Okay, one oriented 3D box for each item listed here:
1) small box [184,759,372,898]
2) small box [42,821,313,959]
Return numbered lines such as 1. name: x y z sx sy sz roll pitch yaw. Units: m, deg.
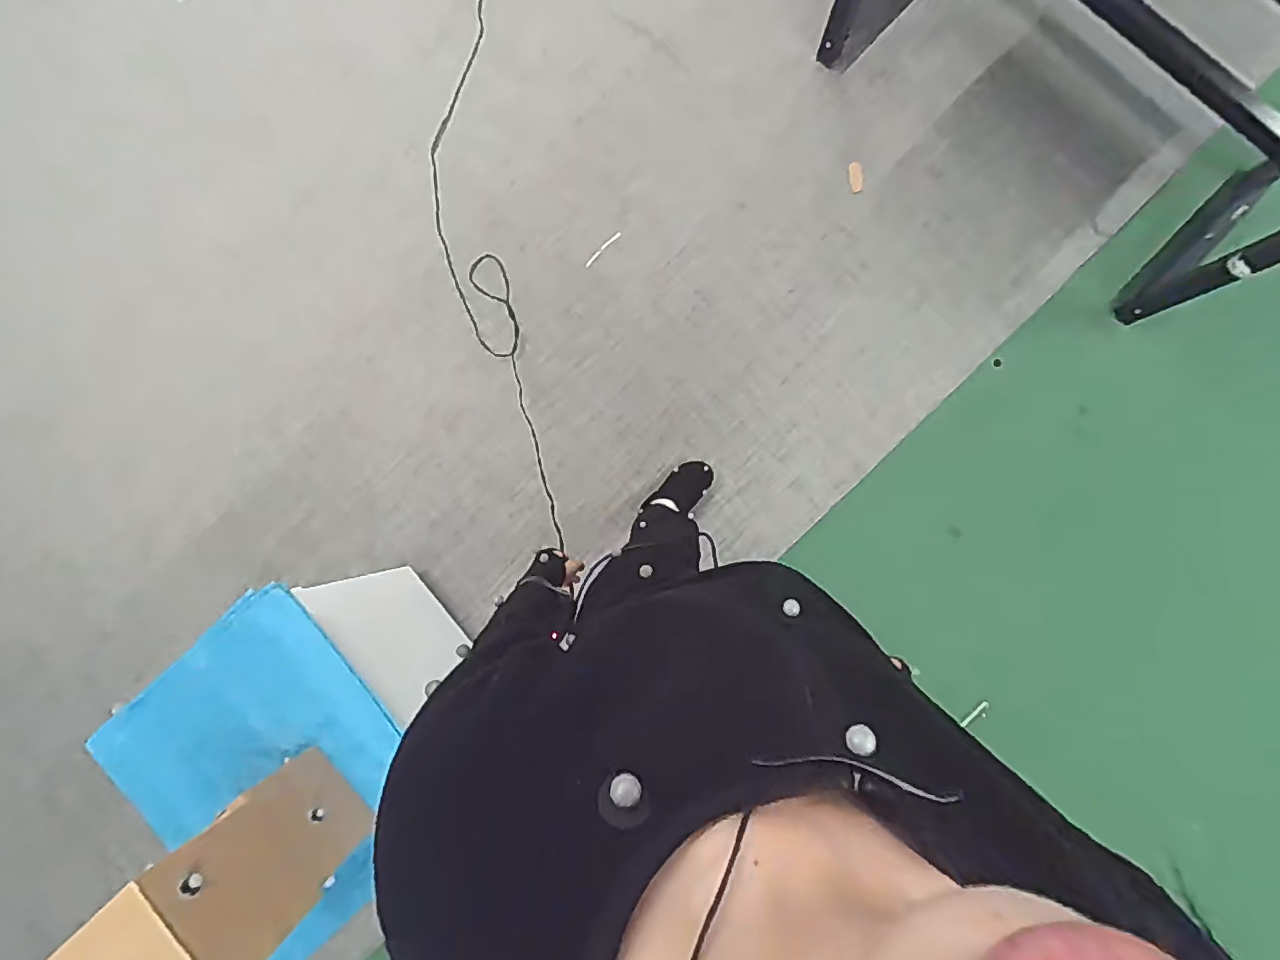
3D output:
1. small box: -0.559 0.564 0.826 0.168 0.176 0.179 -43 87 0
2. small box: -0.558 0.562 0.660 0.168 0.176 0.179 -43 86 1
